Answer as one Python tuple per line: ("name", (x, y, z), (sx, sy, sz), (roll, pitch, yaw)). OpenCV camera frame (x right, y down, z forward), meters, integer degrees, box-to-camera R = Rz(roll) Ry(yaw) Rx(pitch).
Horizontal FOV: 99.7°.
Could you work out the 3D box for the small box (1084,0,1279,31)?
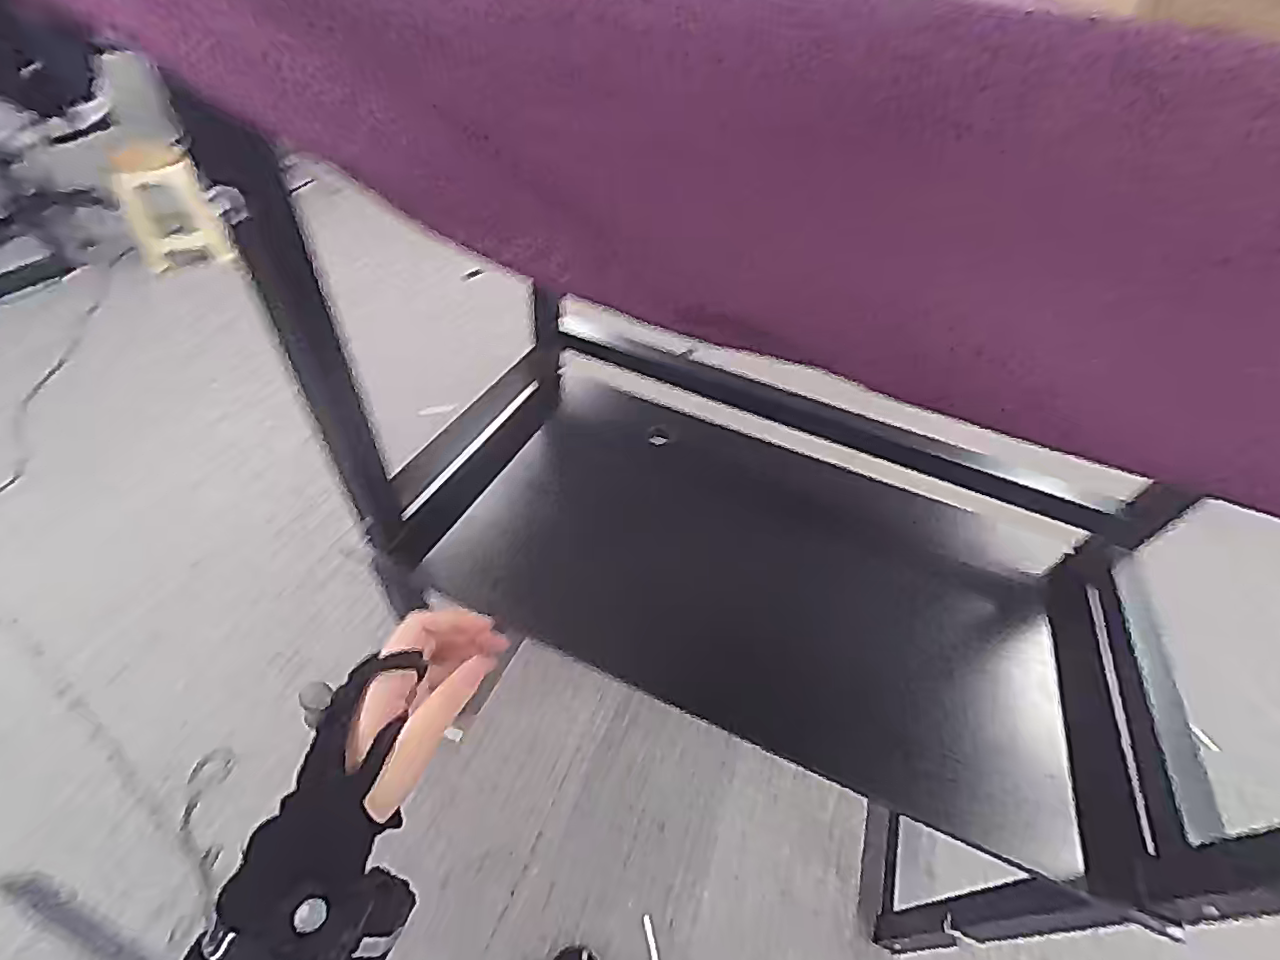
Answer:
("small box", (0.325, -0.292, 0.220), (0.168, 0.176, 0.179), (15, 47, 6))
